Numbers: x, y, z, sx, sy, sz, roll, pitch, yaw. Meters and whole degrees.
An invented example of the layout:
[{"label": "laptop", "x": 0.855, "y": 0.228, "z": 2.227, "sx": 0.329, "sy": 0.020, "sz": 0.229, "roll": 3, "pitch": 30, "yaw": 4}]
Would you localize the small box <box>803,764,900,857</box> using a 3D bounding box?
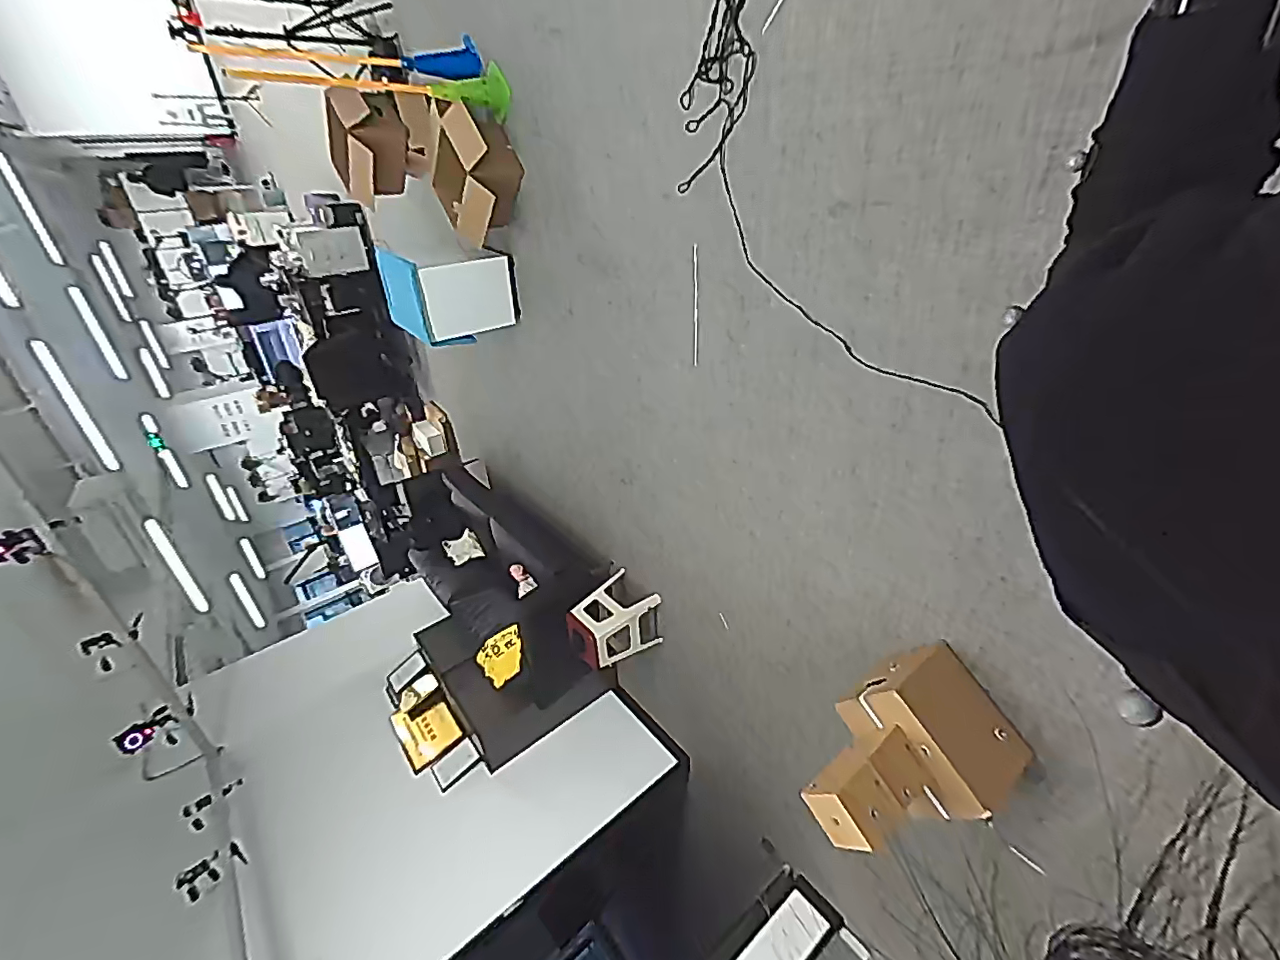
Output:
[{"label": "small box", "x": 0.618, "y": 0.948, "z": 1.564, "sx": 0.168, "sy": 0.176, "sz": 0.179, "roll": 56, "pitch": 149, "yaw": 16}]
